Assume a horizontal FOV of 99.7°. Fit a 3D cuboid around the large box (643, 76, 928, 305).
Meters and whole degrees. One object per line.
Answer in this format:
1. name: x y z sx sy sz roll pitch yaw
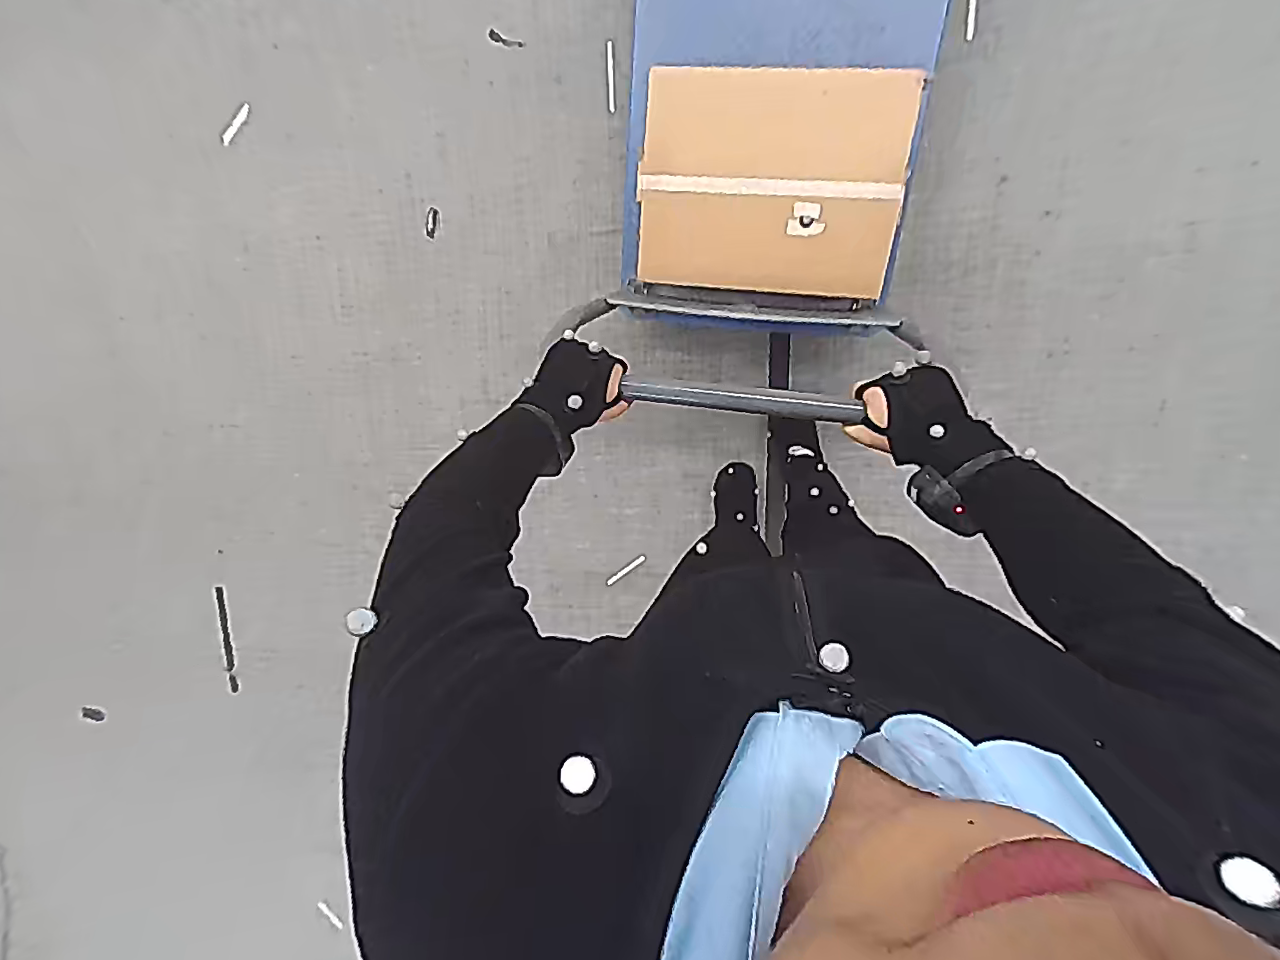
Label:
1. large box: 0.229 -0.495 0.979 0.408 0.320 0.320 7 112 8
